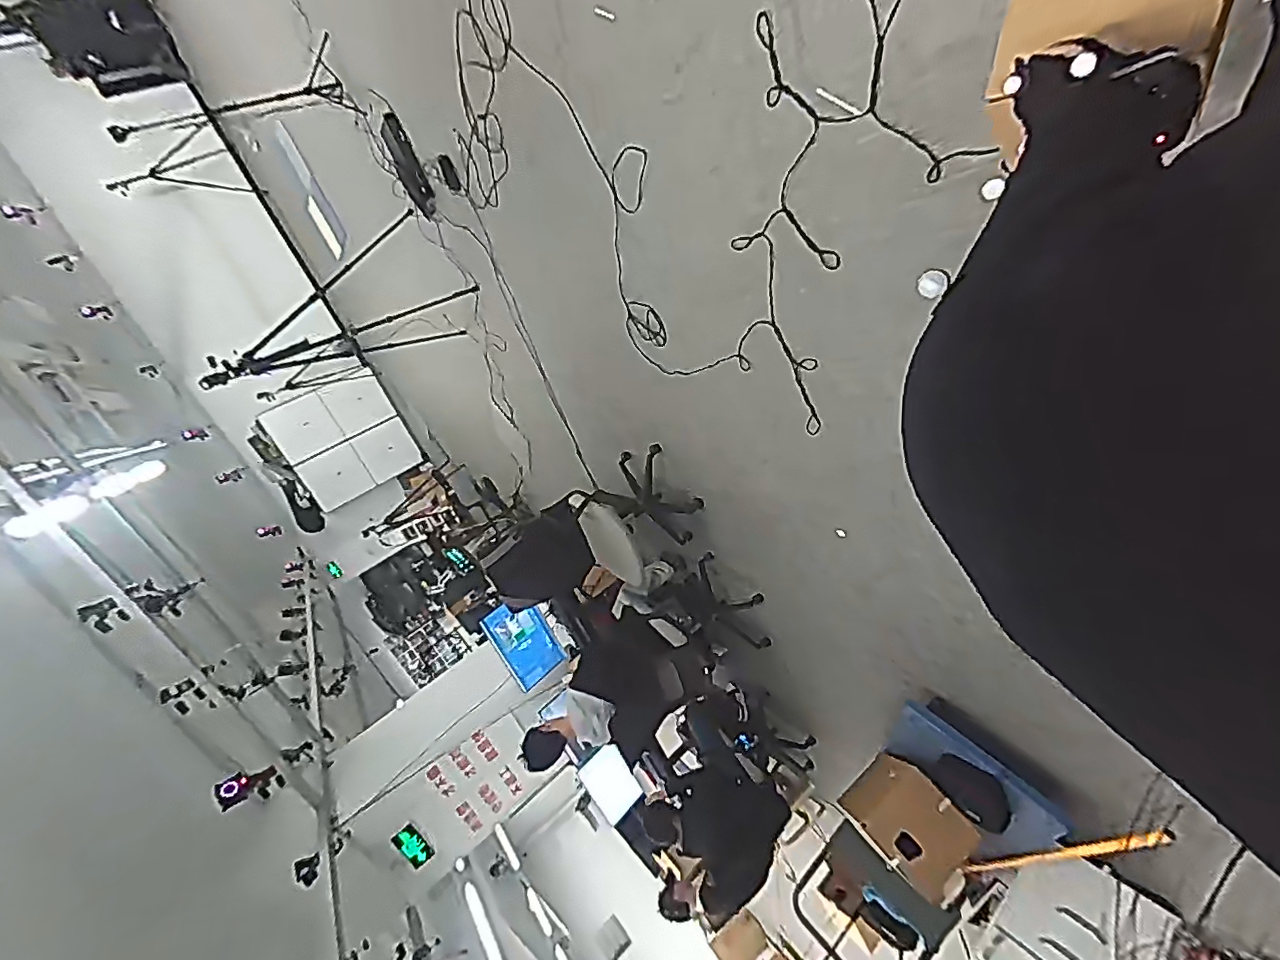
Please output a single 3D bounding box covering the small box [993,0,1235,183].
[{"bbox_3d":[0.489,-0.444,0.557,0.168,0.179,0.176,15,98,42],"label":"small box"}]
